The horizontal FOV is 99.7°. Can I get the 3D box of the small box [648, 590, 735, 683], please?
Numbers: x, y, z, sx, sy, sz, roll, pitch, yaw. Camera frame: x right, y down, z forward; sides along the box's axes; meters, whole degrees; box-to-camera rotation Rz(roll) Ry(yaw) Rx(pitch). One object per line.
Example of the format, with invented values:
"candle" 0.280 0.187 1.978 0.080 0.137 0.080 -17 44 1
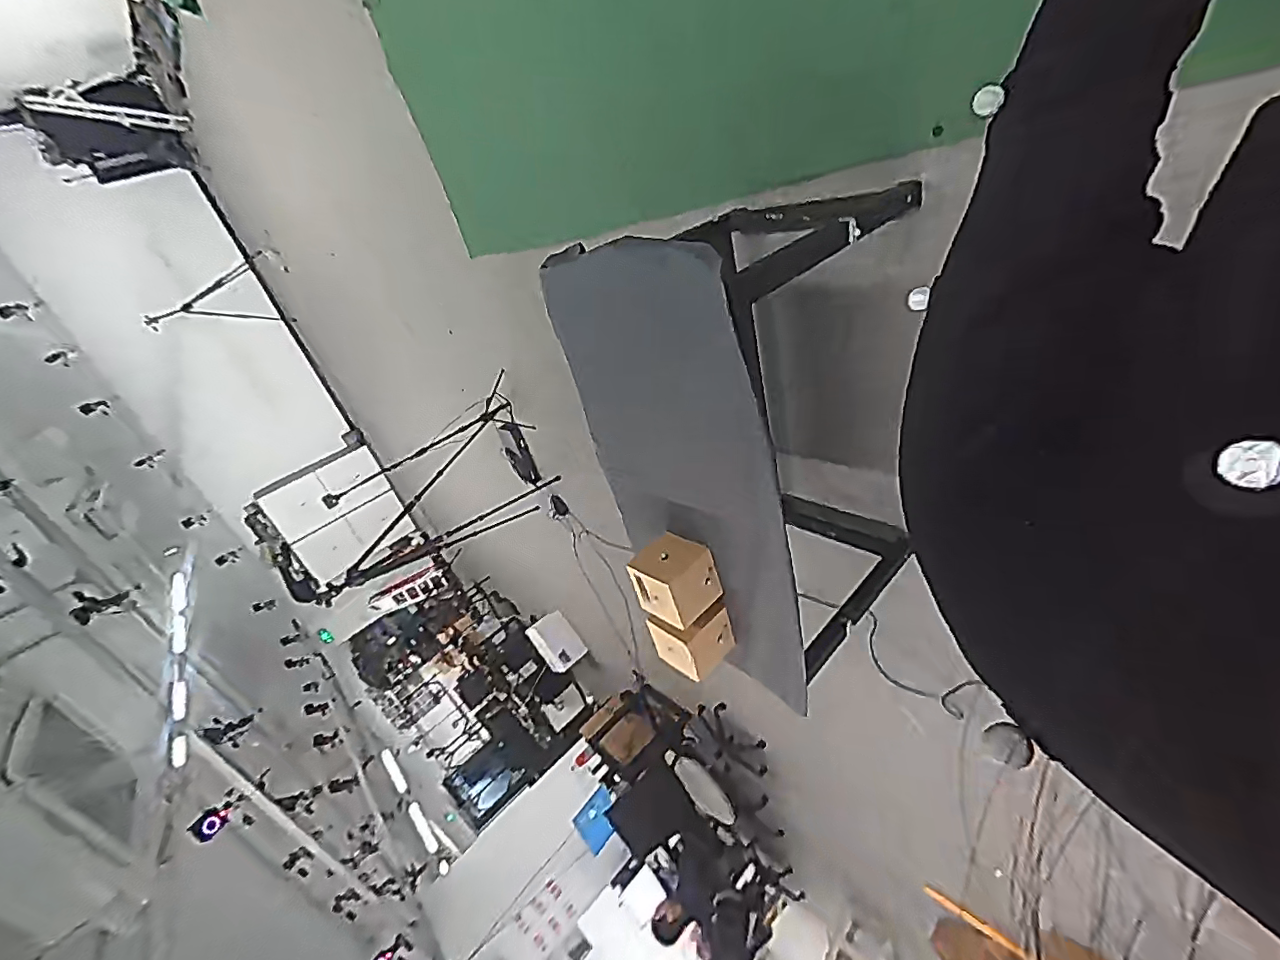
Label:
"small box" 0.155 0.451 1.596 0.179 0.176 0.168 19 135 47
